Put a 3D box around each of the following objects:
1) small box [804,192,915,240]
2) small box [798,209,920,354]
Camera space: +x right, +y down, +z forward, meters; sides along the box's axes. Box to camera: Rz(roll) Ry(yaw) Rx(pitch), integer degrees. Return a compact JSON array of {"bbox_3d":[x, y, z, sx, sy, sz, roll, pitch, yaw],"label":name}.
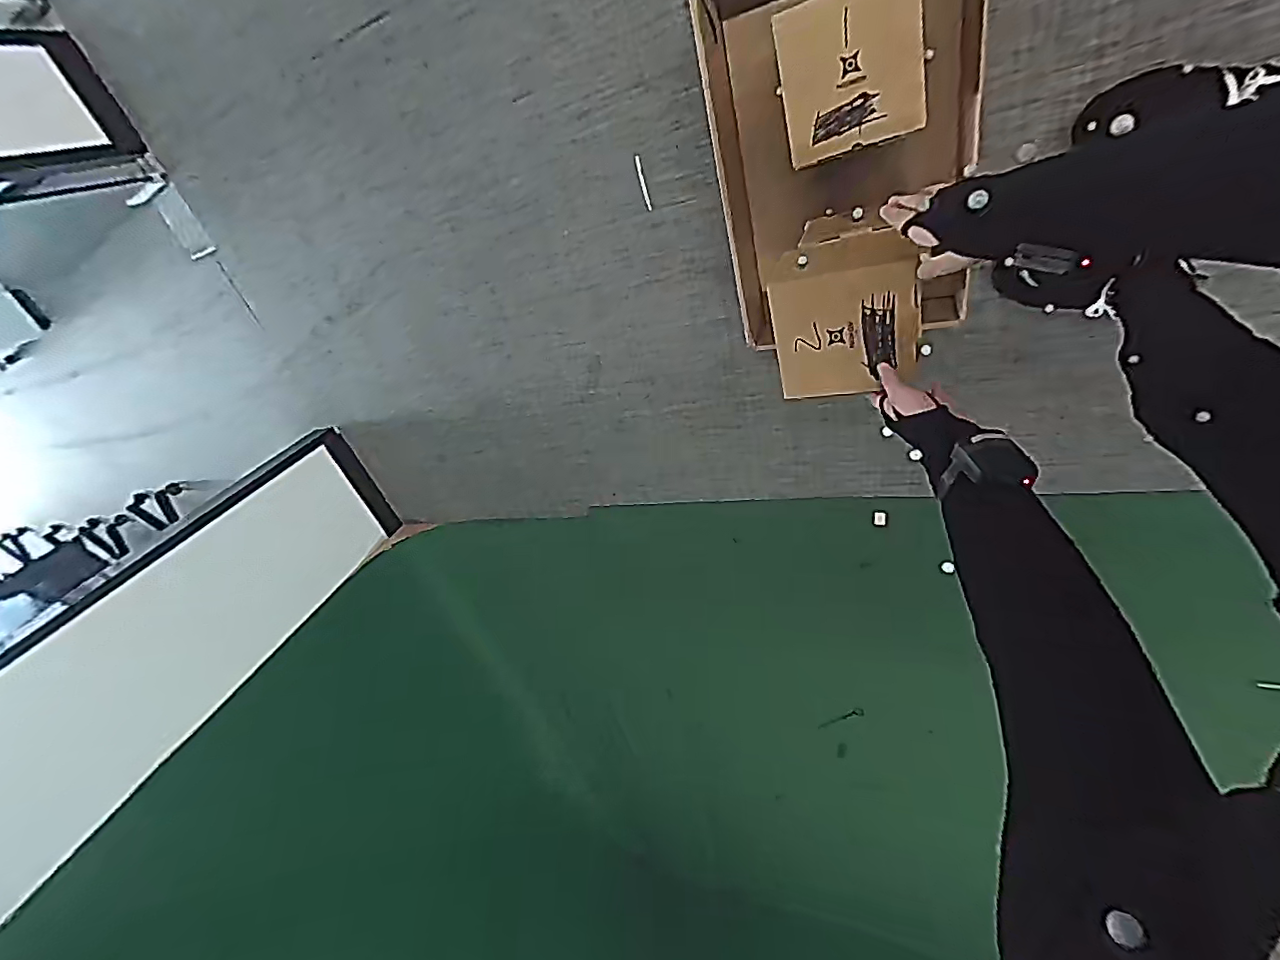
[{"bbox_3d":[0.406,-0.416,1.000,0.179,0.176,0.168,-1,124,25],"label":"small box"},{"bbox_3d":[0.355,-0.324,0.874,0.168,0.176,0.179,-2,123,25],"label":"small box"}]
